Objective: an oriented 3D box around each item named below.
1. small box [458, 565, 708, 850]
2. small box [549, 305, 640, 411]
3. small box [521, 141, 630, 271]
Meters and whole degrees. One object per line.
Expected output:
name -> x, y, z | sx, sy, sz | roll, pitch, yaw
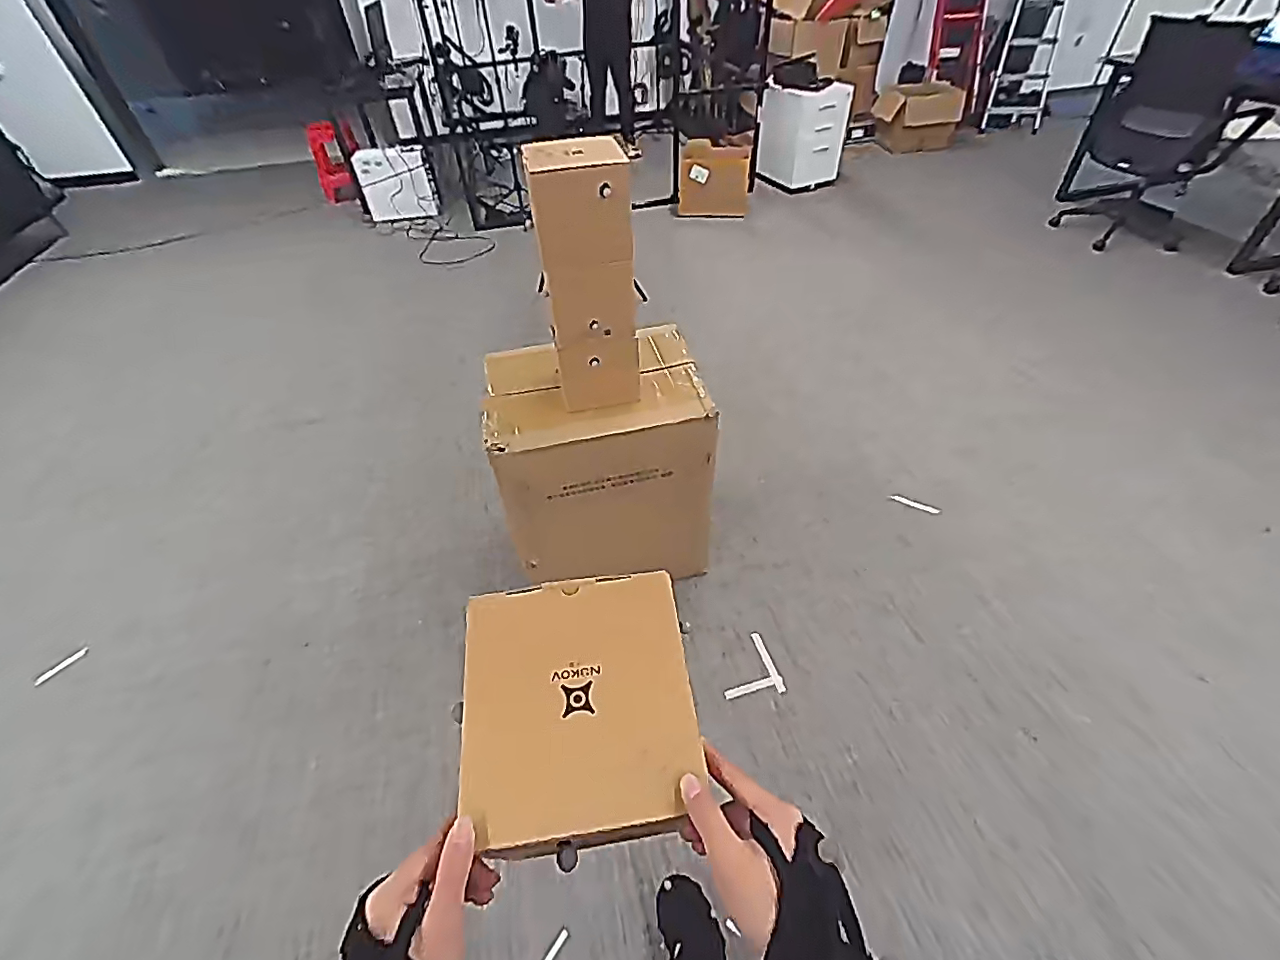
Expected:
small box -> -0.044, 0.197, 0.456 | 0.168, 0.176, 0.179 | -7, 52, -5
small box -> -0.103, -0.277, 1.245 | 0.179, 0.176, 0.168 | -11, 46, -8
small box -> -0.117, -0.513, 1.016 | 0.179, 0.176, 0.168 | -11, 46, -7
